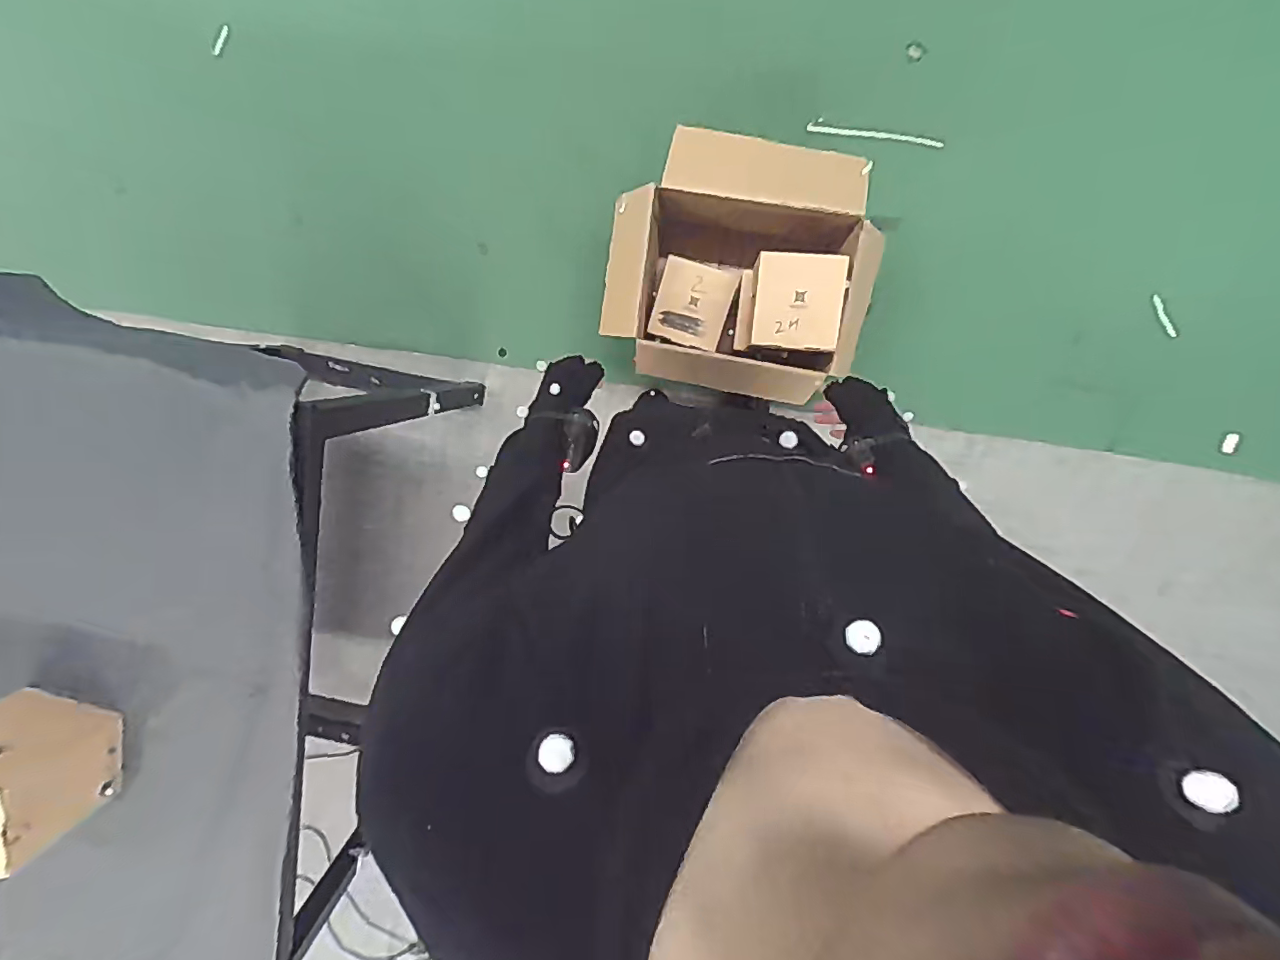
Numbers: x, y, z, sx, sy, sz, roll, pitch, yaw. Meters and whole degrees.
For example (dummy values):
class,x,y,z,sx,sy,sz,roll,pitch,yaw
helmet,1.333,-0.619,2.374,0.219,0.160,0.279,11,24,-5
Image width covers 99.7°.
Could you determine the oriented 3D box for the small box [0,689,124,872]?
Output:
class,x,y,z,sx,sy,sz,roll,pitch,yaw
small box,-0.970,0.458,0.849,0.179,0.176,0.168,15,104,2
